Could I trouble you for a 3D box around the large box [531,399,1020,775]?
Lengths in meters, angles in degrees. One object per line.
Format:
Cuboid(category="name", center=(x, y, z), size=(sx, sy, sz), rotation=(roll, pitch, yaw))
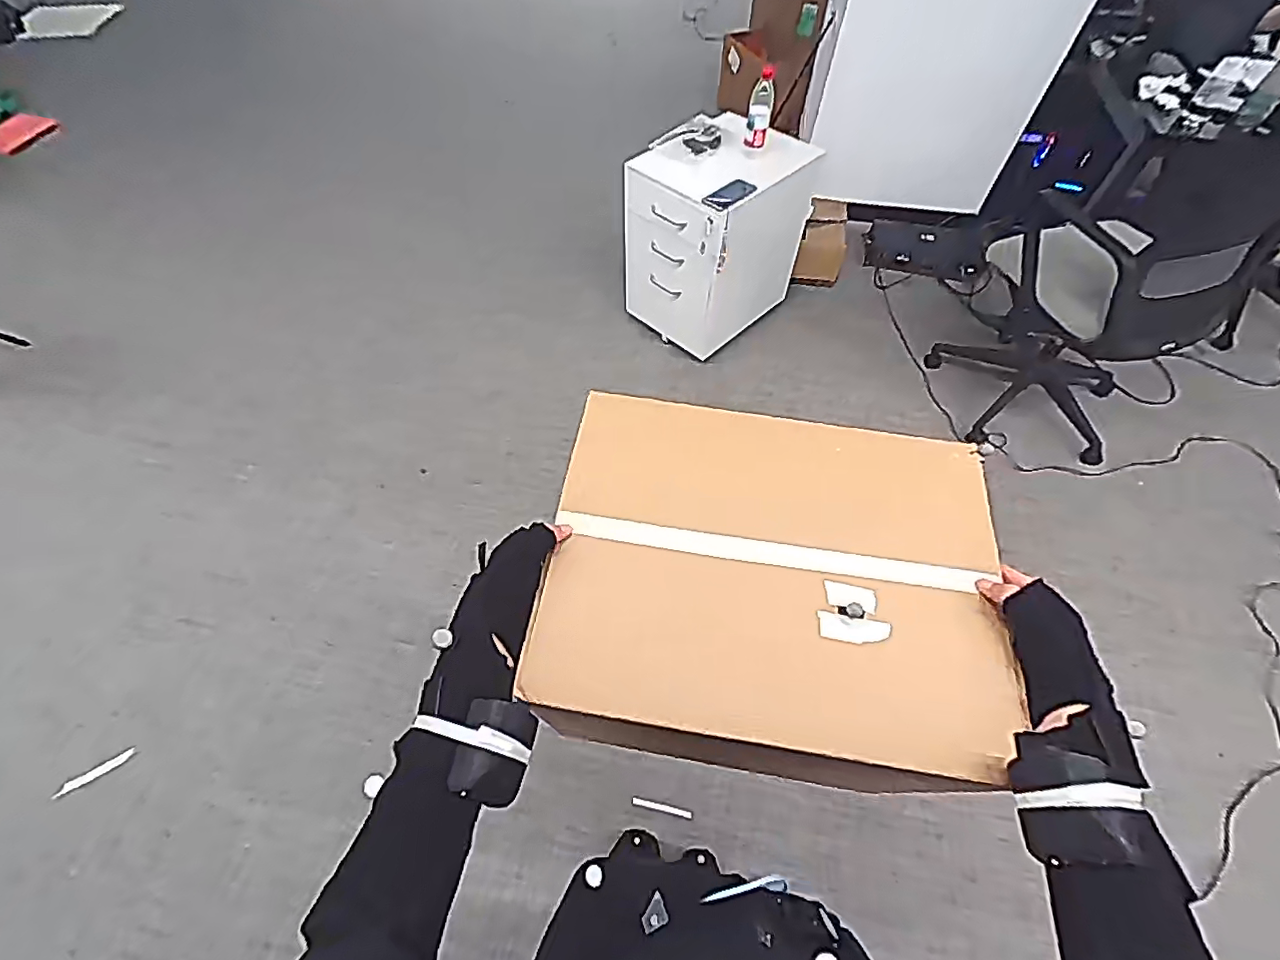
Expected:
Cuboid(category="large box", center=(0.120, 0.141, 0.634), size=(0.408, 0.320, 0.320), rotation=(9, 62, 3))
